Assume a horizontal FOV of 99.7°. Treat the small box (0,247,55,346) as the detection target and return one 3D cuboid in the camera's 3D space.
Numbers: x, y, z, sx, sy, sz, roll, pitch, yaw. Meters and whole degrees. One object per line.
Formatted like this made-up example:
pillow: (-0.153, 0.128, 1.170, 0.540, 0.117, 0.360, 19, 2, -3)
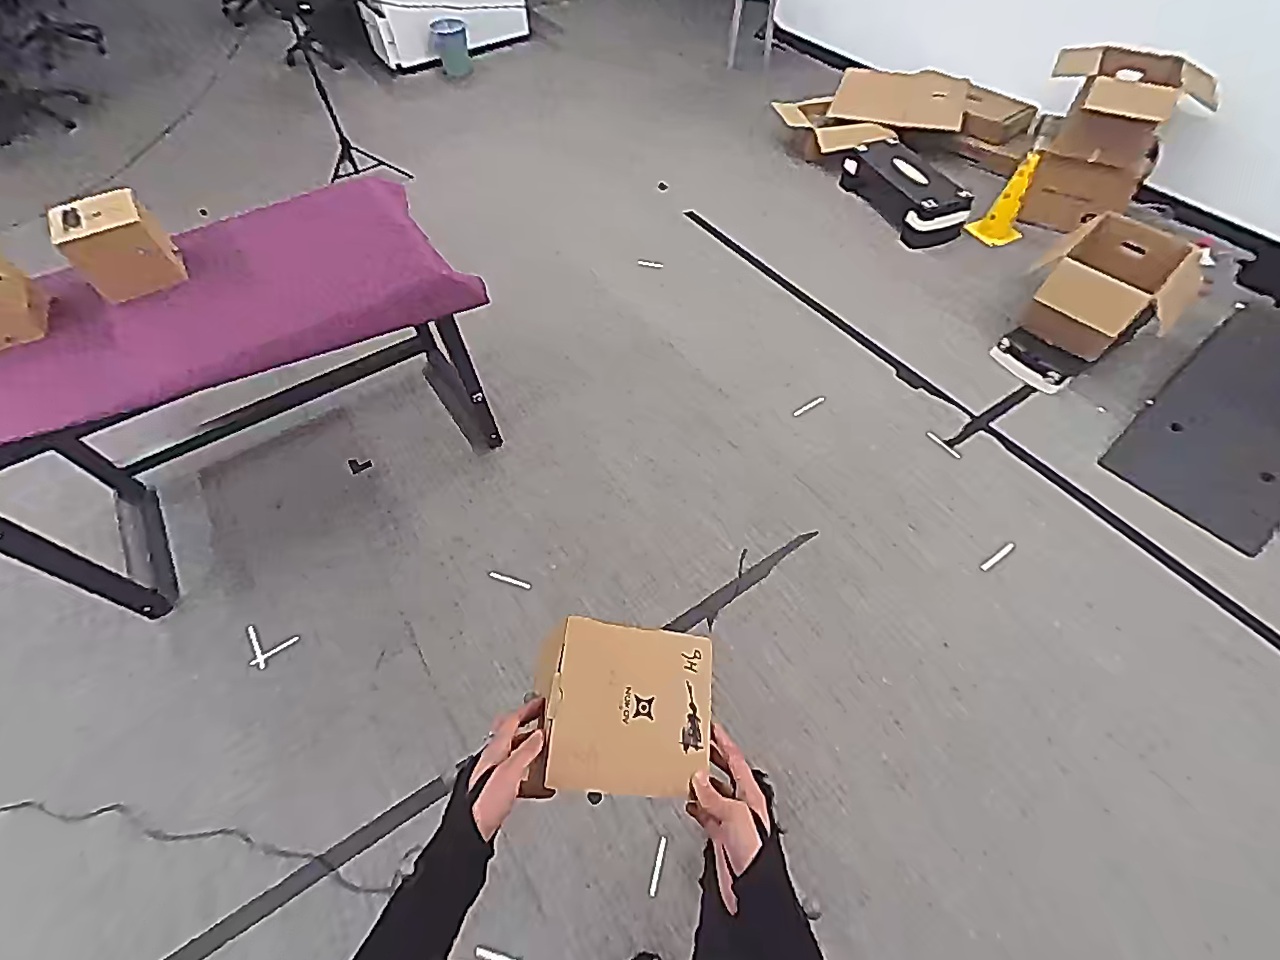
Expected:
small box: (-1.497, -0.417, 1.226, 0.168, 0.176, 0.179, -24, 60, -14)
